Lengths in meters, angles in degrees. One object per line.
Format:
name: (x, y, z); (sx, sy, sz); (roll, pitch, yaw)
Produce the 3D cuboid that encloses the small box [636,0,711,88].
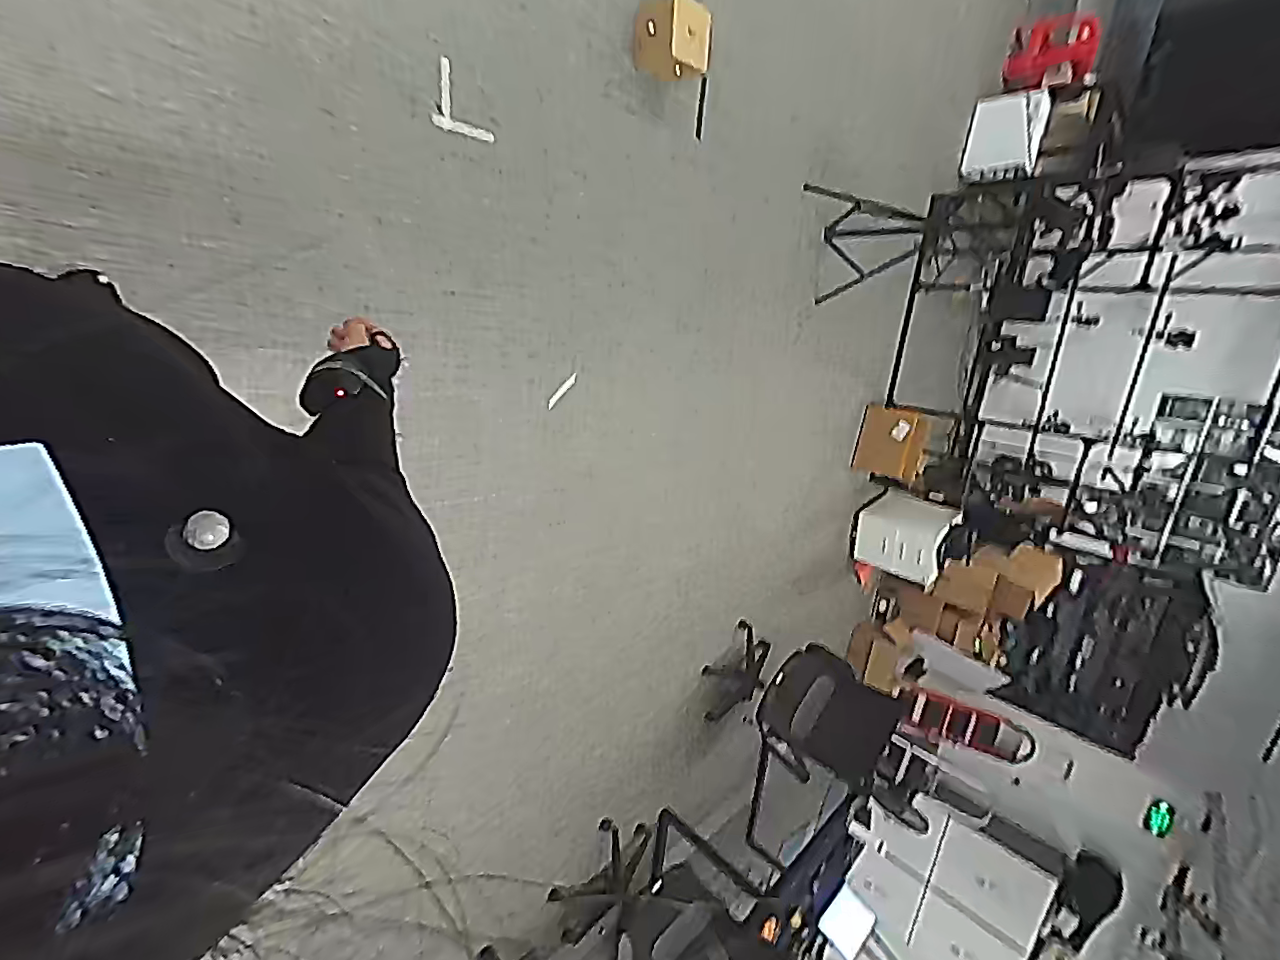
small box: (0.104, -1.396, 1.740); (0.179, 0.176, 0.168); (-13, 115, -44)
